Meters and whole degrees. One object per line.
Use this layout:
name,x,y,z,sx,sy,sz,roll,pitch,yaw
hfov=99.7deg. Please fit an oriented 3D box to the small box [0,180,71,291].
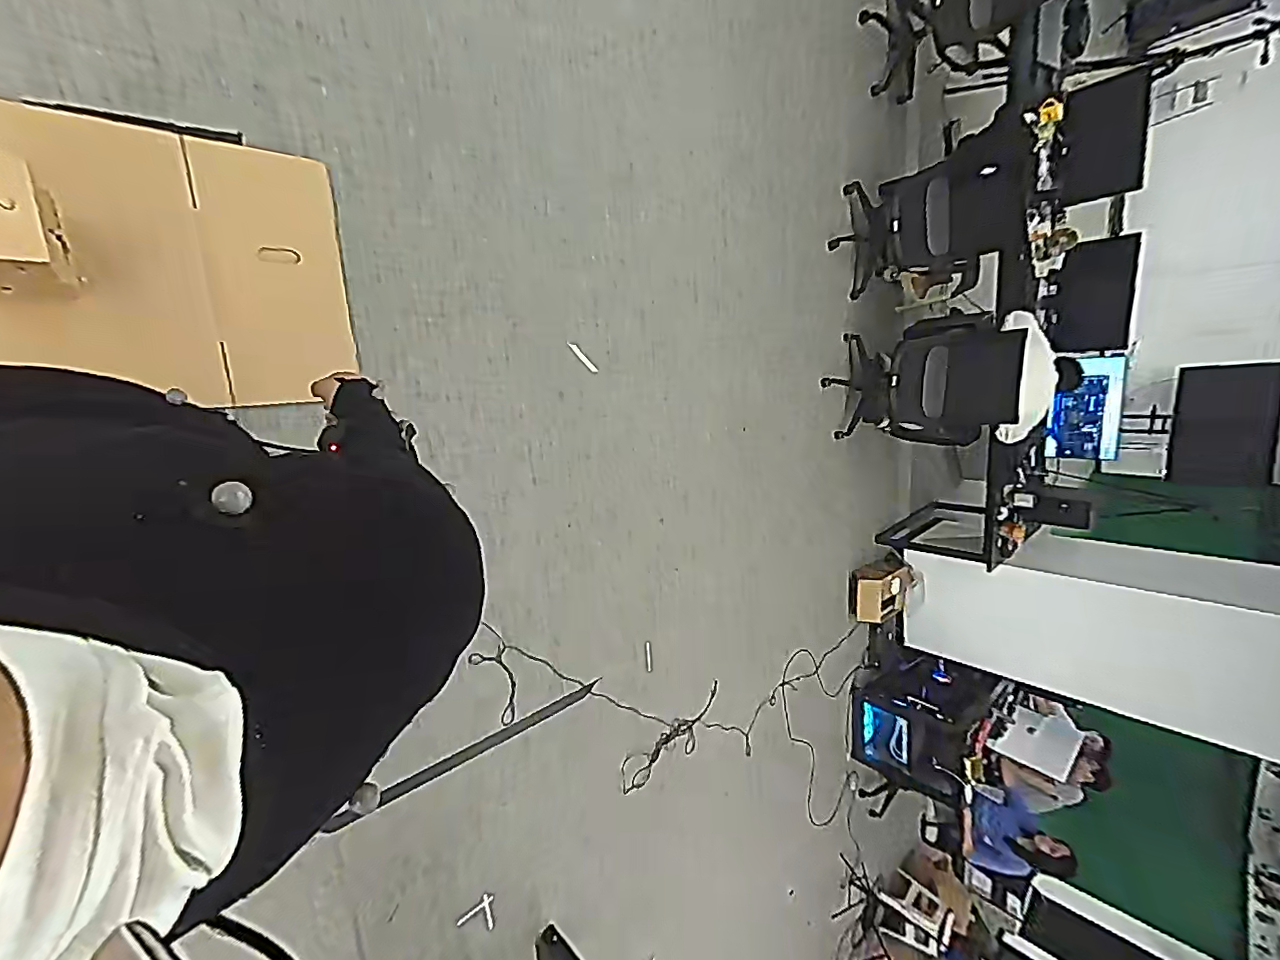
small box,-1.189,-0.447,0.993,0.179,0.176,0.168,-13,104,-40
